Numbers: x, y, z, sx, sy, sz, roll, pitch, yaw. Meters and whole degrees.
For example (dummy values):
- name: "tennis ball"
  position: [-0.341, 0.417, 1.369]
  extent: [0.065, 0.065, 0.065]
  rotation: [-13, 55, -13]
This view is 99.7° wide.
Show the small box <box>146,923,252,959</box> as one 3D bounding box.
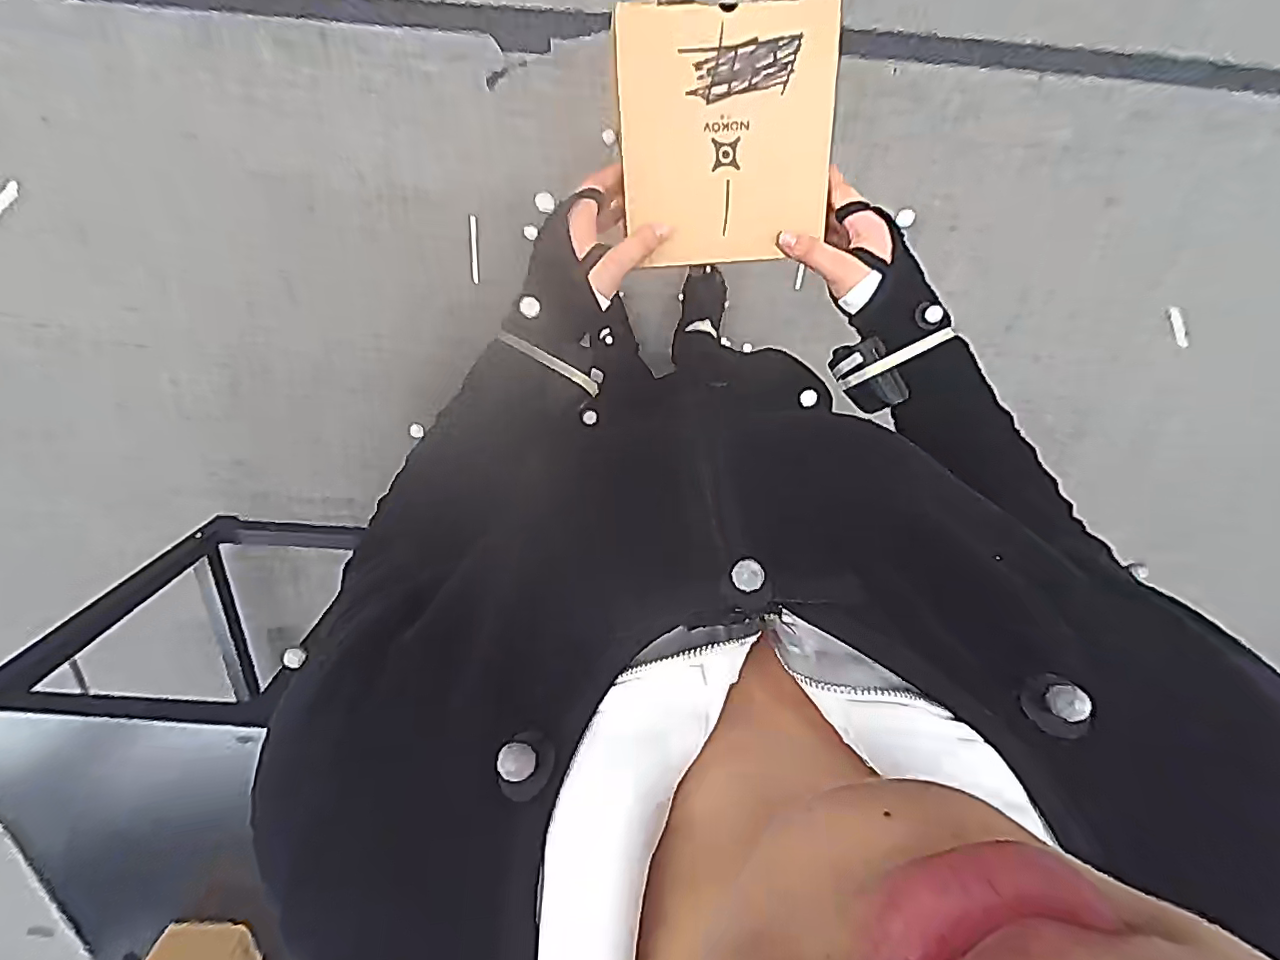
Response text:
- name: "small box"
  position: [-1.014, 1.136, 1.214]
  extent: [0.179, 0.176, 0.168]
  rotation: [4, 114, -2]

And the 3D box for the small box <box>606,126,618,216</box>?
- name: "small box"
  position: [0.022, -0.657, 1.172]
  extent: [0.179, 0.176, 0.168]
  rotation: [4, 117, -3]

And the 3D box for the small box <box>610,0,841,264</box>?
- name: "small box"
  position: [0.062, -0.296, 0.491]
  extent: [0.168, 0.176, 0.179]
  rotation: [-5, 115, -3]
